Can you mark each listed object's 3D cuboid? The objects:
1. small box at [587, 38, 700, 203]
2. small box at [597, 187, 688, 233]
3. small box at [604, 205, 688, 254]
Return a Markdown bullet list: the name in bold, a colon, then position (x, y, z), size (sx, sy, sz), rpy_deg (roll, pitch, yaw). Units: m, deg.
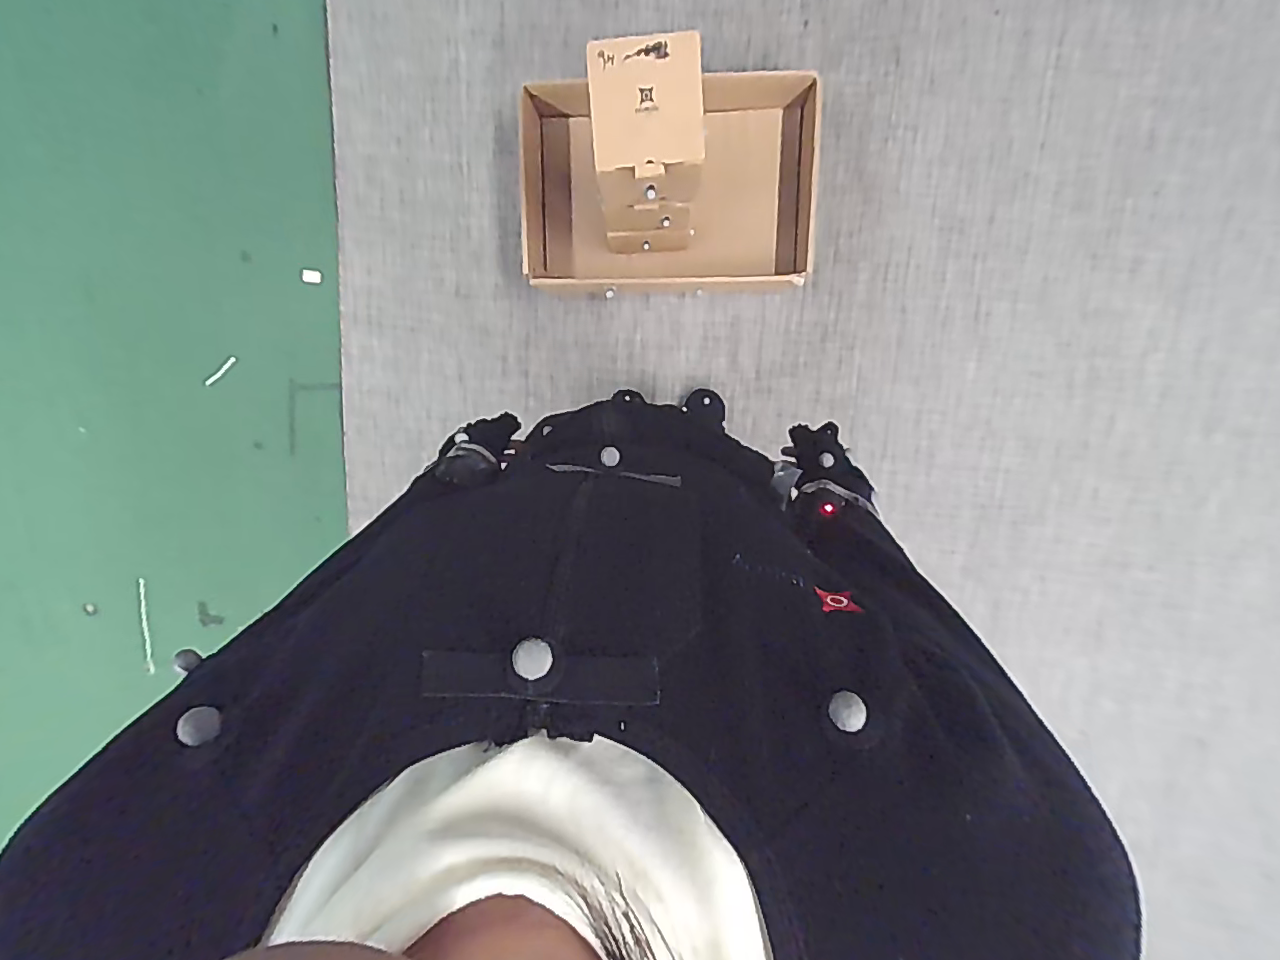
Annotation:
- **small box**: position (0.010, -0.559, 0.868), size (0.168, 0.176, 0.179), rpy_deg (-1, 101, 3)
- **small box**: position (0.010, -0.583, 1.030), size (0.168, 0.176, 0.179), rpy_deg (1, 99, 2)
- **small box**: position (0.016, -0.602, 1.189), size (0.179, 0.176, 0.168), rpy_deg (0, 100, 5)
